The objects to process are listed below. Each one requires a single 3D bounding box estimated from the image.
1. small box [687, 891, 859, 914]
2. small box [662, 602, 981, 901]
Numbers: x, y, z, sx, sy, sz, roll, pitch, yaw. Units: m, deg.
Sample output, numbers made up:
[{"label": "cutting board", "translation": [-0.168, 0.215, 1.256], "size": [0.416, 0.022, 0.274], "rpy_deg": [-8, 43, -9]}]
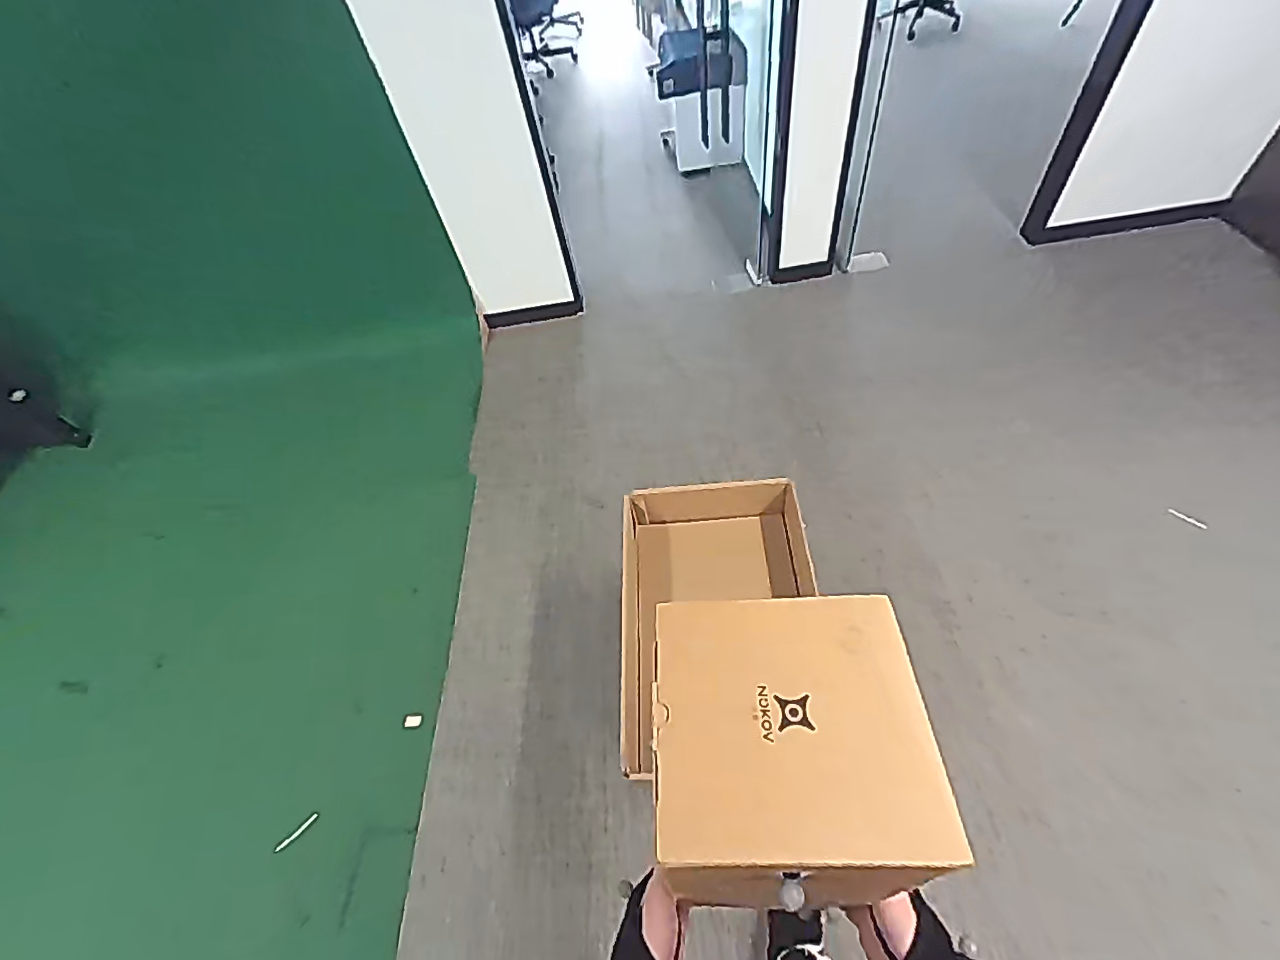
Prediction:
[{"label": "small box", "translation": [0.146, 0.414, 0.658], "size": [0.179, 0.176, 0.168], "rpy_deg": [-3, 47, 7]}, {"label": "small box", "translation": [0.109, 0.207, 0.409], "size": [0.179, 0.176, 0.168], "rpy_deg": [-4, 48, 6]}]
